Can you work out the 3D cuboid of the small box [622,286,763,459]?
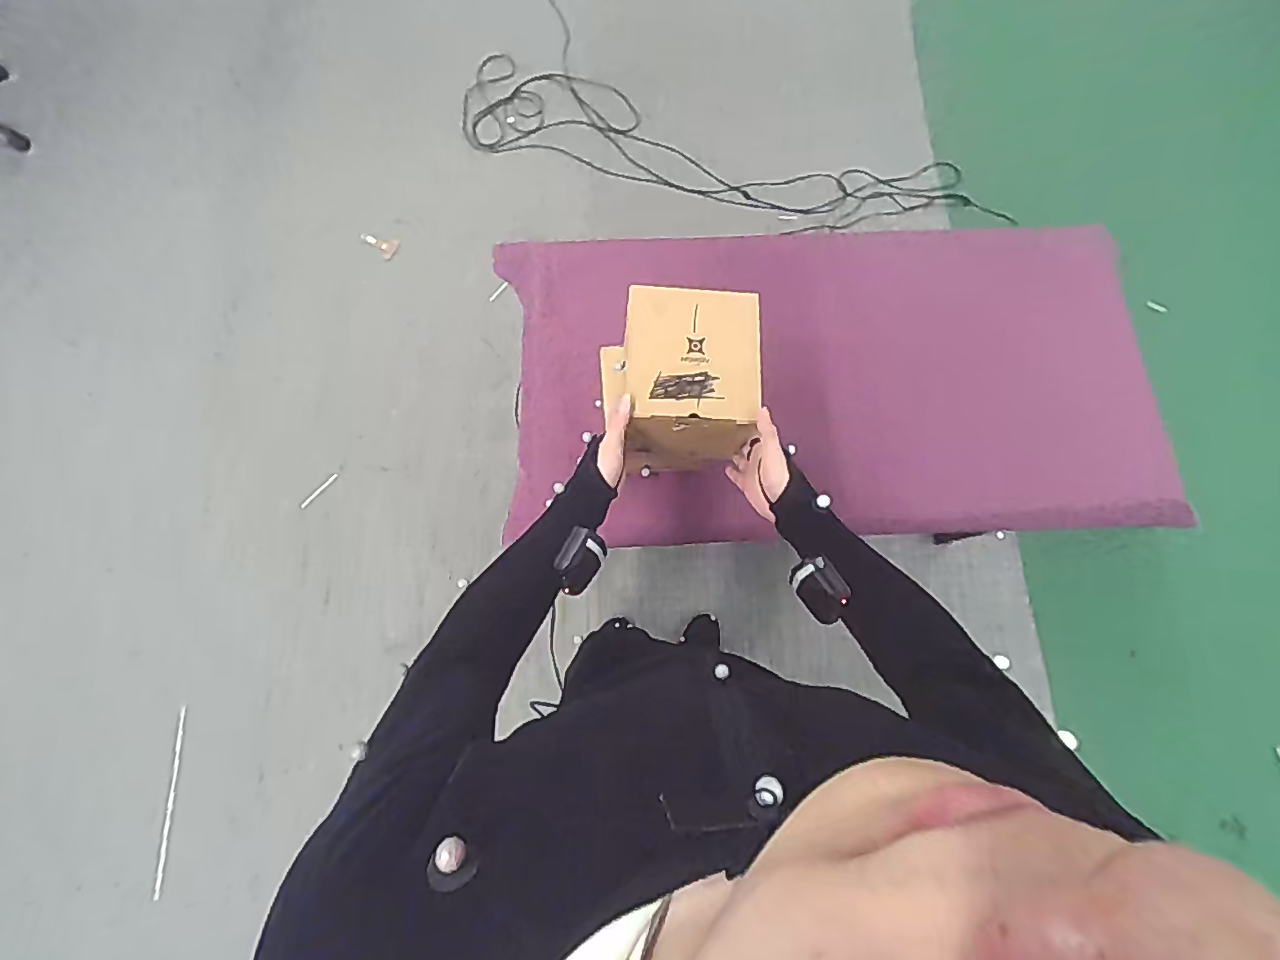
[{"bbox_3d":[0.064,-0.134,0.730,0.168,0.176,0.179,3,76,-3],"label":"small box"}]

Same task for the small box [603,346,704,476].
[{"bbox_3d":[0.023,-0.115,0.927,0.168,0.176,0.179,-4,76,-1],"label":"small box"}]
